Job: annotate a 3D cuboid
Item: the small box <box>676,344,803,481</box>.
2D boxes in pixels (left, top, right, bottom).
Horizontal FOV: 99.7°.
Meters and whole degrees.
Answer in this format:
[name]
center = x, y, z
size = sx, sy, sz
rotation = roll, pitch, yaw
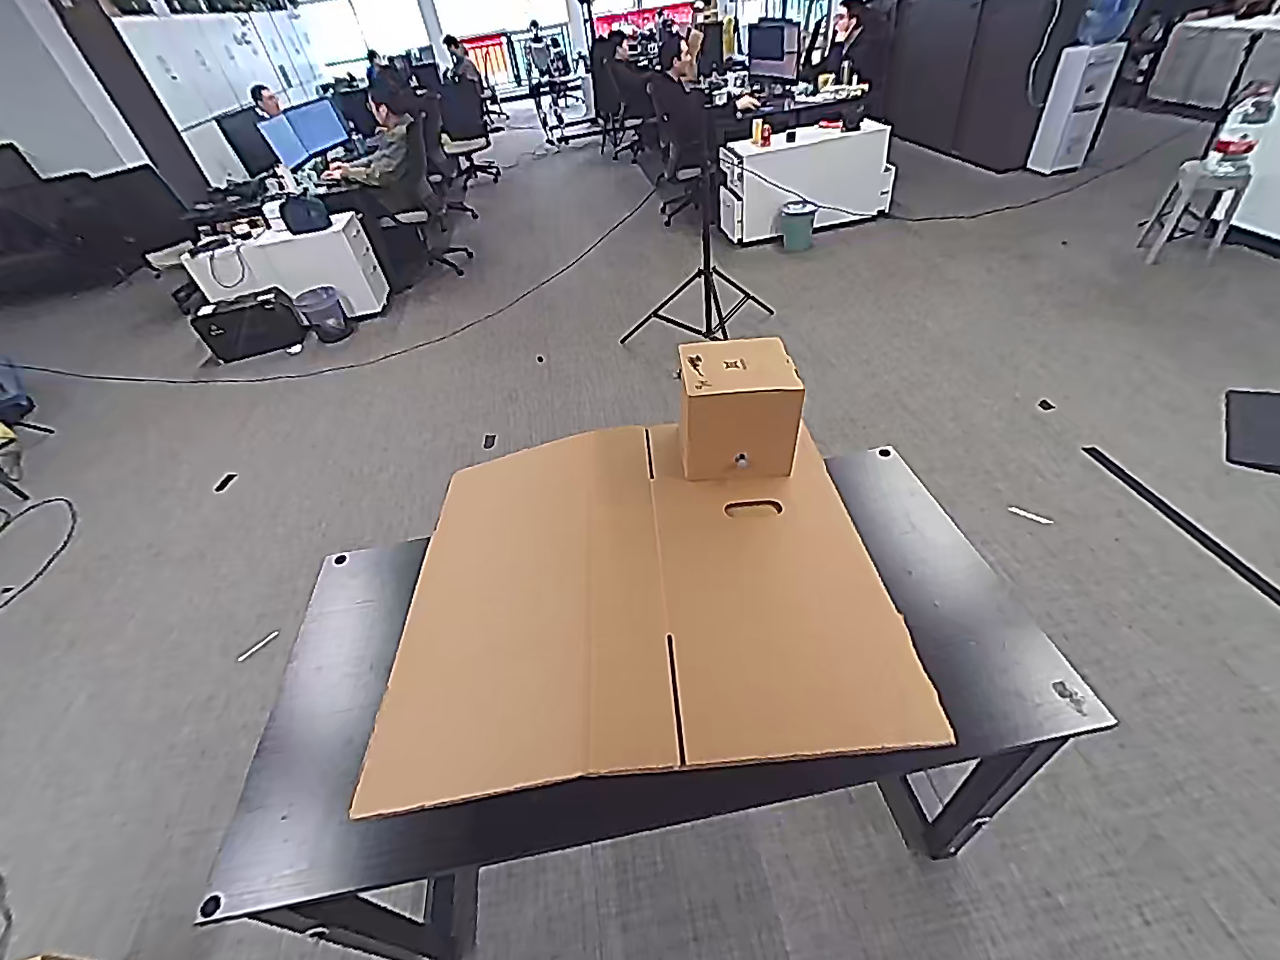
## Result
[small box]
center = 0.155, -0.112, 0.909
size = 0.179, 0.176, 0.168
rotation = -3, 40, 0
